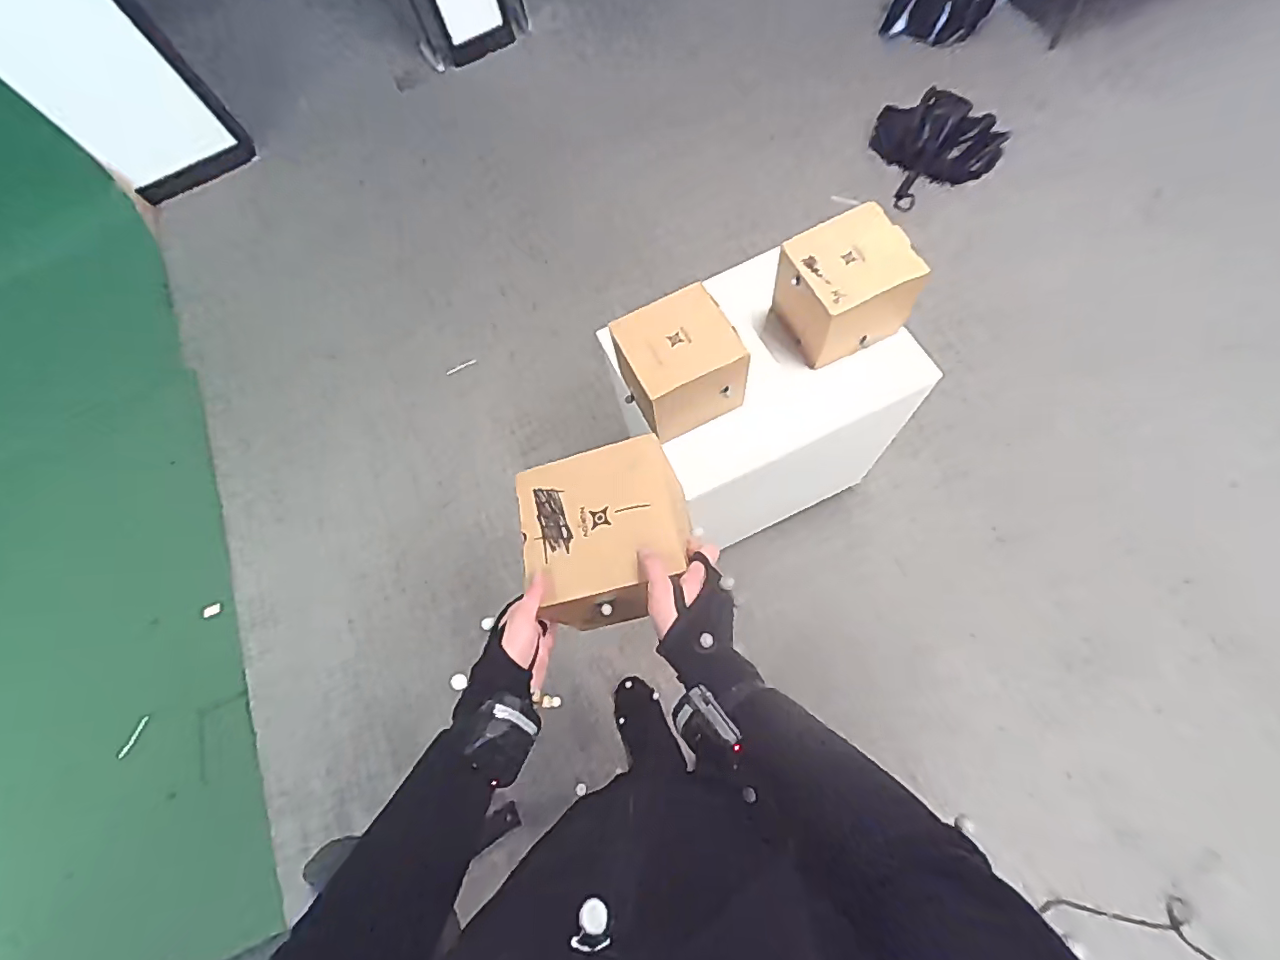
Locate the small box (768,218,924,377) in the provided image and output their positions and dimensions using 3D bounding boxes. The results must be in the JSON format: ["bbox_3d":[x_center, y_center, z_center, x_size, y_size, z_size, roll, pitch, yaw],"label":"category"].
[{"bbox_3d":[0.348,-0.314,0.952,0.179,0.176,0.168,-24,69,-5],"label":"small box"}]

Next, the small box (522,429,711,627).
[{"bbox_3d":[-0.023,0.067,0.641,0.179,0.176,0.168,-14,64,6],"label":"small box"}]

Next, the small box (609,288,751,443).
[{"bbox_3d":[0.065,-0.184,0.922,0.179,0.176,0.168,-26,68,-6],"label":"small box"}]
